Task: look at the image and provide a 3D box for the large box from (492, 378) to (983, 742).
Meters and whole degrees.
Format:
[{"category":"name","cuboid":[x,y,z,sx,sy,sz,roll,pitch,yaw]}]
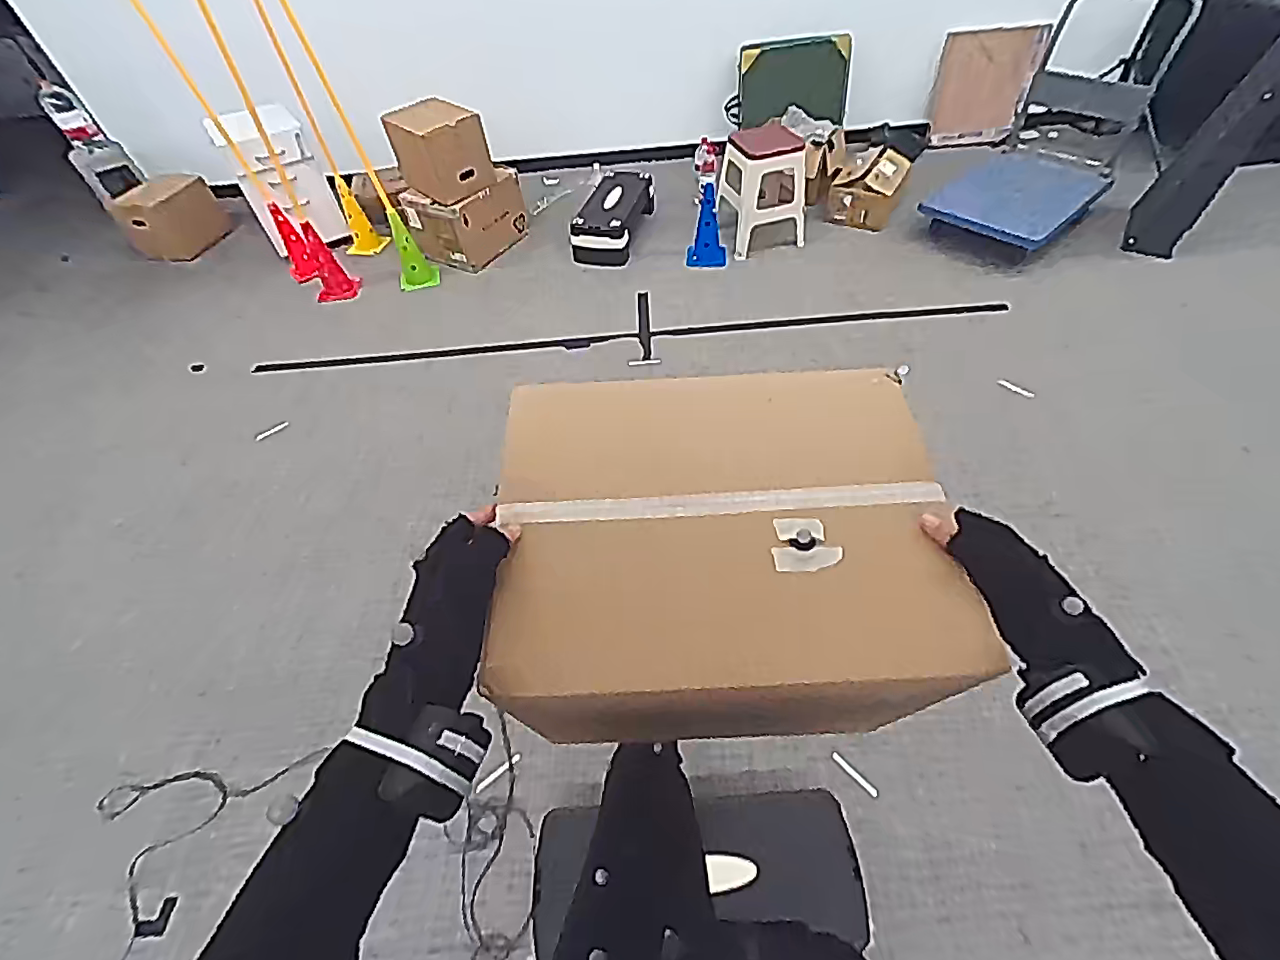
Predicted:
[{"category":"large box","cuboid":[0.074,0.108,0.634,0.408,0.320,0.320,-3,58,0]}]
